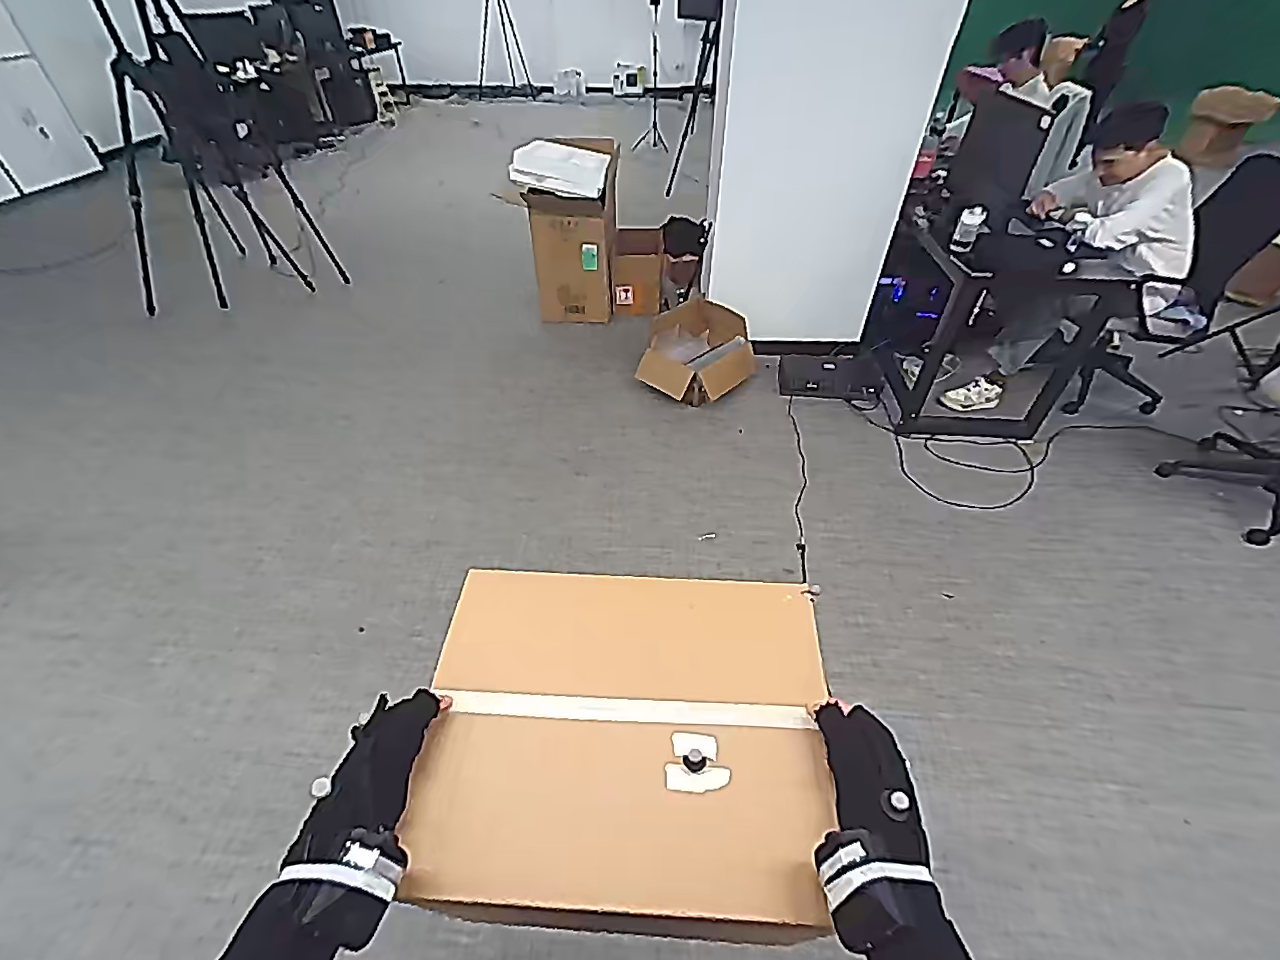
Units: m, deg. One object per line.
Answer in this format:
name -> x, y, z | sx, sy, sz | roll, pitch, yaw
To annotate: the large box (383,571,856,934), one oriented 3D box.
large box -> -0.015, 0.331, 0.654 | 0.408, 0.320, 0.320 | 3, 48, 2
